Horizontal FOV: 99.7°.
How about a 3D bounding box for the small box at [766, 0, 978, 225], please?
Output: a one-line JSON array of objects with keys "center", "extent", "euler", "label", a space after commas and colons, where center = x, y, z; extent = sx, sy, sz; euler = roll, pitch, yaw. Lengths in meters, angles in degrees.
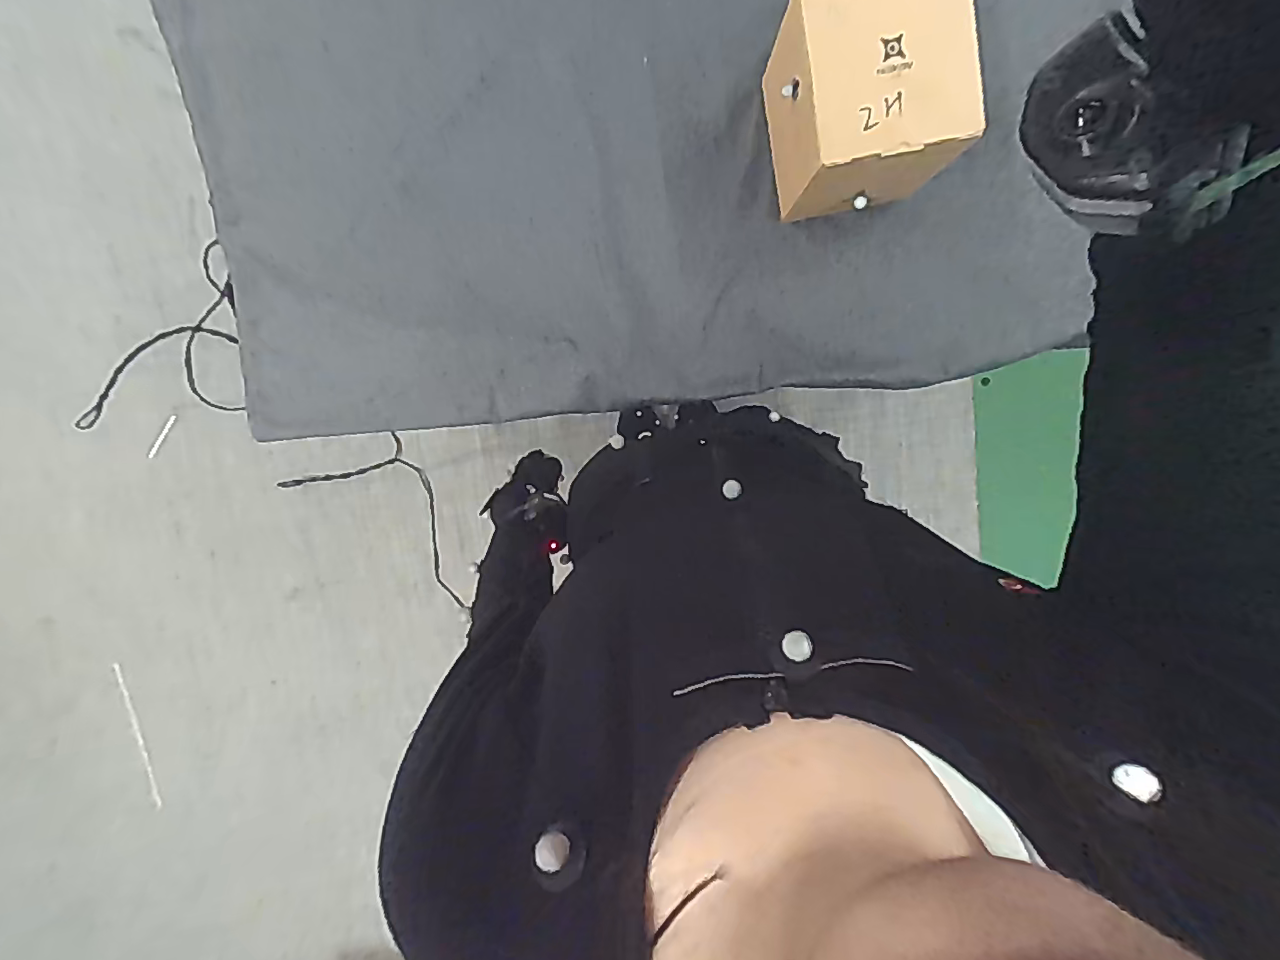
[{"center": [0.250, -0.423, 0.621], "extent": [0.168, 0.176, 0.179], "euler": [-10, 97, 3], "label": "small box"}]
